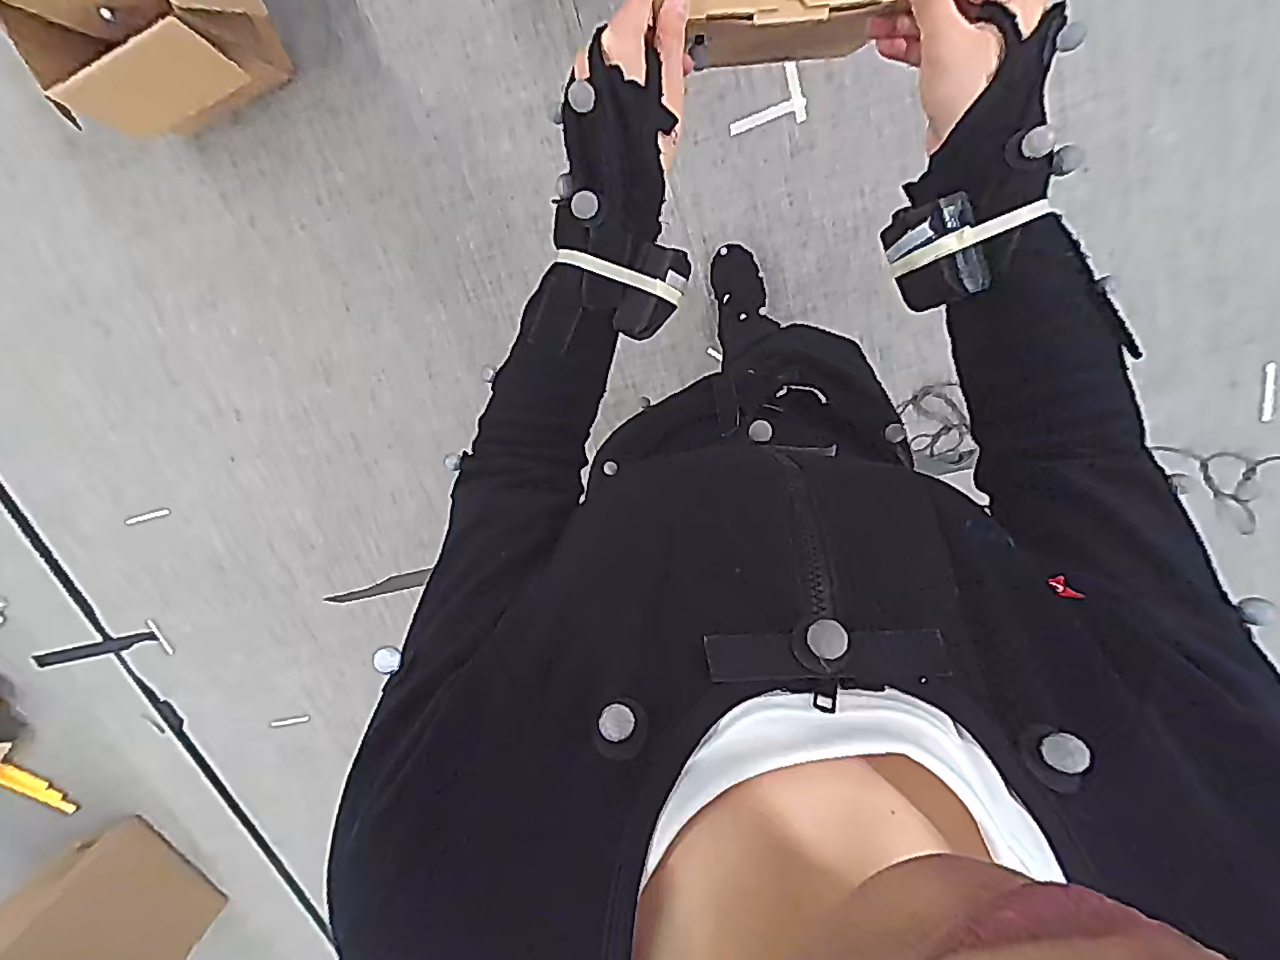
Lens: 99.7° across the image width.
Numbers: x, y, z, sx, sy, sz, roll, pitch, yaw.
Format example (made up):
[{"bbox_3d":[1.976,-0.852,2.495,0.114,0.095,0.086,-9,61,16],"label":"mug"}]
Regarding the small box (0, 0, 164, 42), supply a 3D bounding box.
[{"bbox_3d":[-0.985,-0.902,0.915,0.168,0.176,0.179,-17,108,12],"label":"small box"}]
